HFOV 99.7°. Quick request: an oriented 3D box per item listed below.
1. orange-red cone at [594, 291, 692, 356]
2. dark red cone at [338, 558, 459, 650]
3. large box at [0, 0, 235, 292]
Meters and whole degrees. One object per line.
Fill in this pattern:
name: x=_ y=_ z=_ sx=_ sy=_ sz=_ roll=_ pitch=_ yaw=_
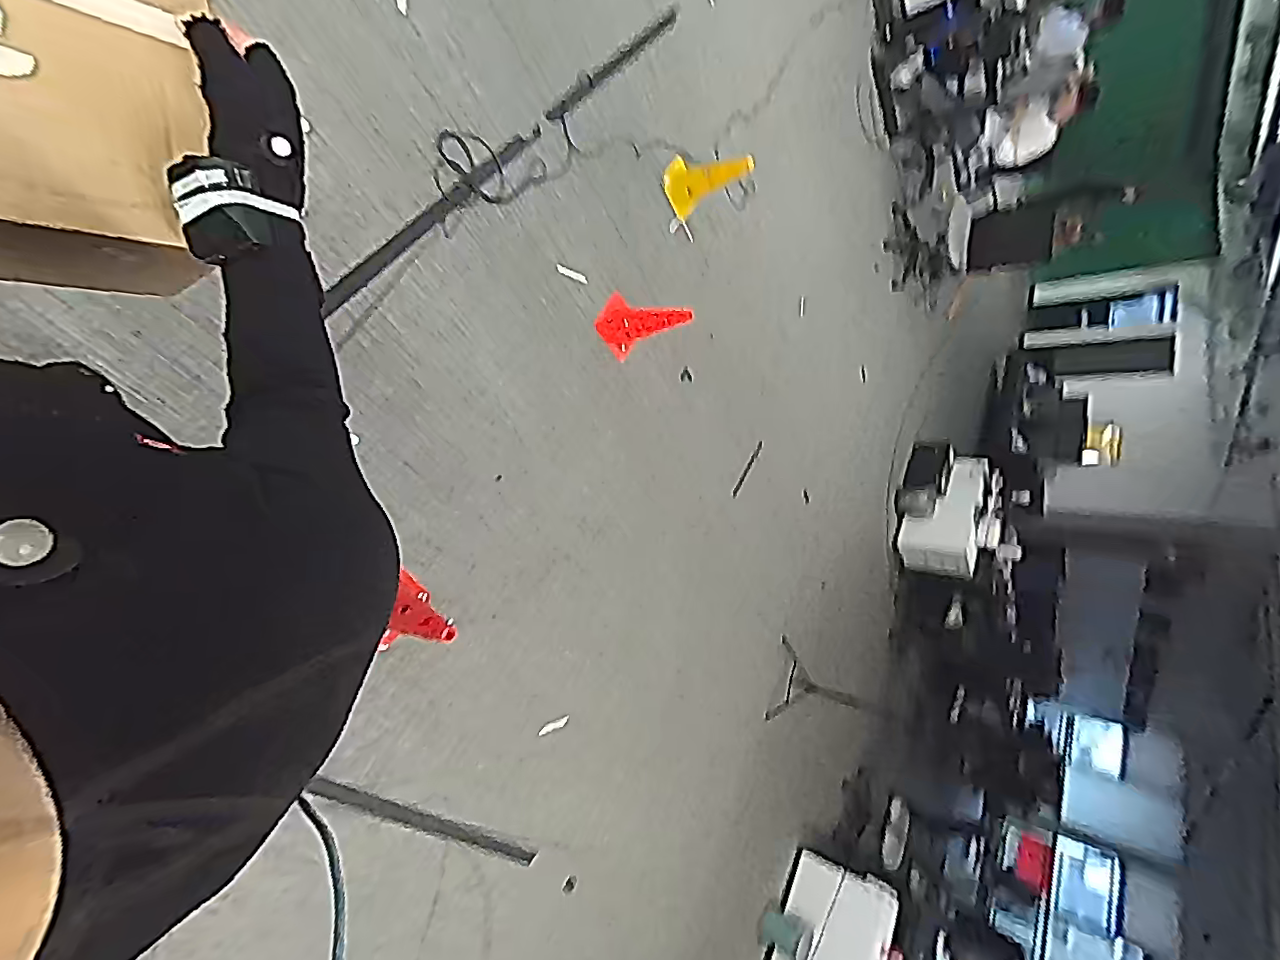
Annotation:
orange-red cone: x=0.039 y=-0.606 z=2.013 sx=0.198 sy=0.360 sz=0.199 roll=51 pitch=56 yaw=-39
dark red cone: x=-0.573 y=0.350 z=1.378 sx=0.202 sy=0.394 sz=0.201 roll=-54 pitch=129 yaw=-30
large box: x=-0.590 y=-0.337 z=0.388 sx=0.408 sy=0.320 sz=0.320 roll=-9 pitch=104 yaw=-49
